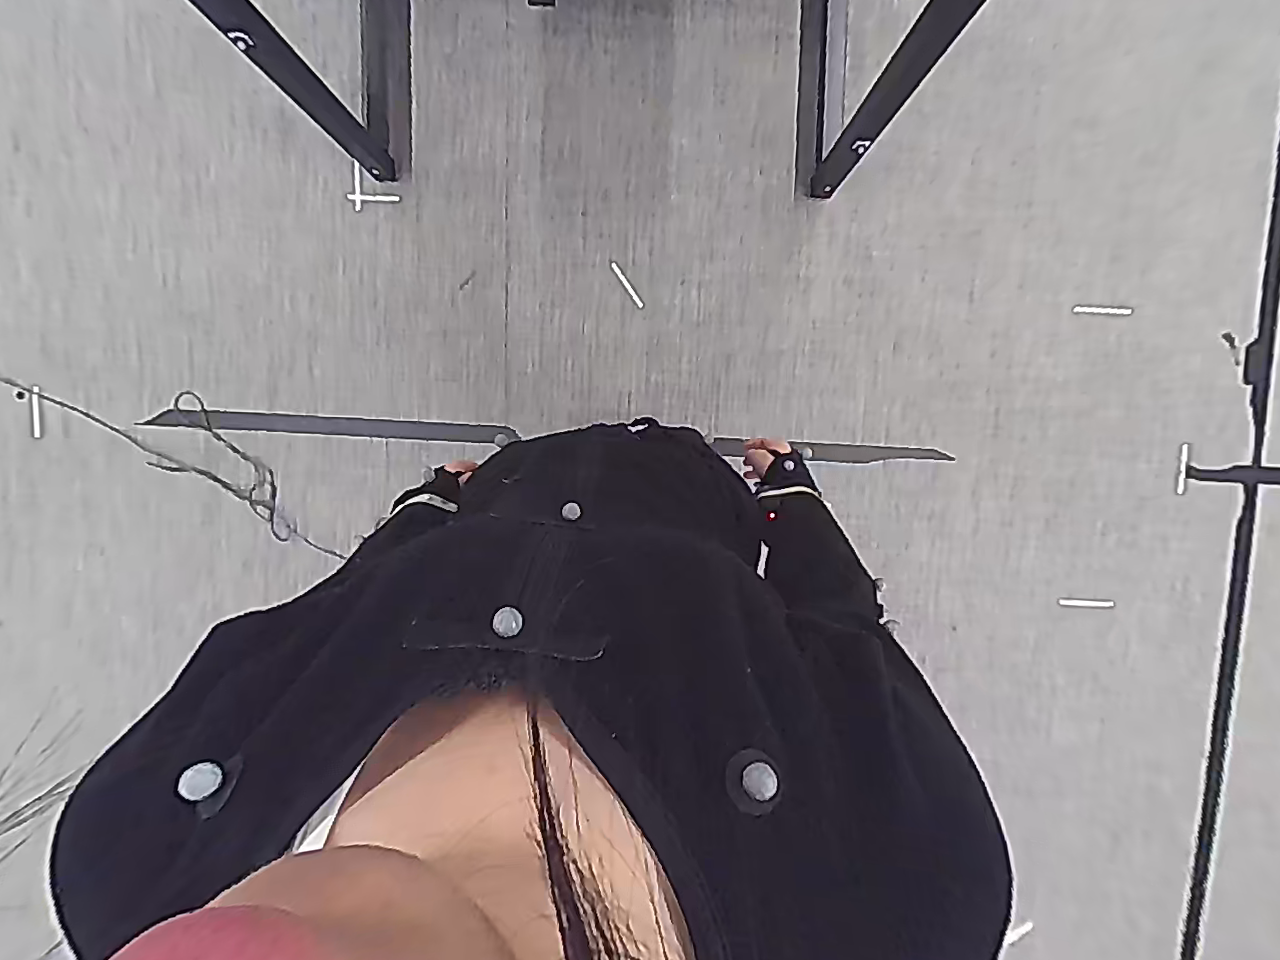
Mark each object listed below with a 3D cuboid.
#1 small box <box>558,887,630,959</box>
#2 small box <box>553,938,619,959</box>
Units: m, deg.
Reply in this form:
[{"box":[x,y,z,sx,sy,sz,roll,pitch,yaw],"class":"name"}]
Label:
[{"box":[-0.122,1.268,1.490,0.168,0.176,0.179,-12,94,0],"class":"small box"},{"box":[-0.127,1.288,1.326,0.168,0.176,0.179,-11,95,-1],"class":"small box"}]
